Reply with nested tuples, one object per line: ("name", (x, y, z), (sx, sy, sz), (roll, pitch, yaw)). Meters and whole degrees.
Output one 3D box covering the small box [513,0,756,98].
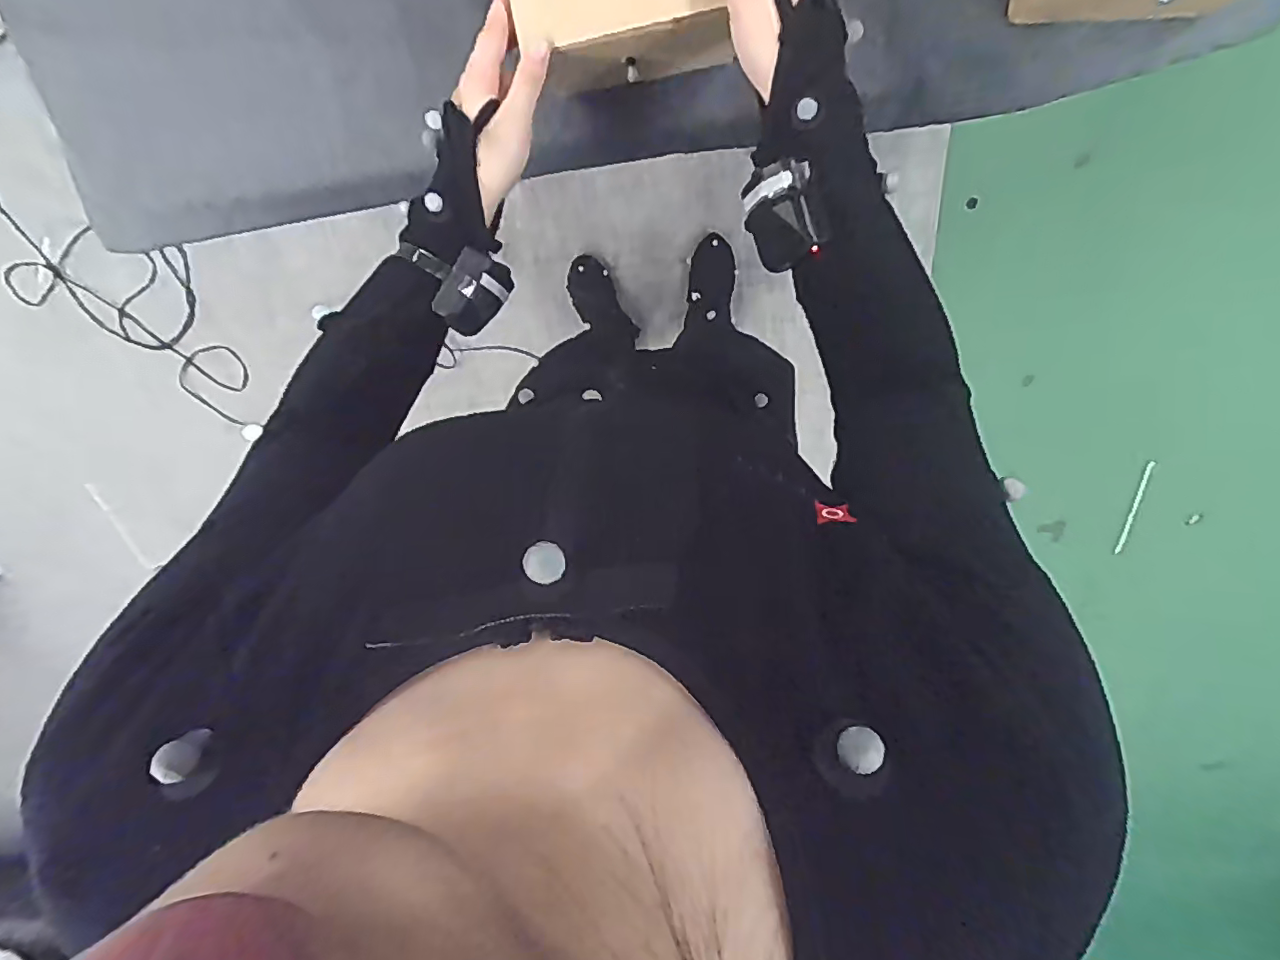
("small box", (-0.008, -0.429, 0.434), (0.179, 0.176, 0.168), (-5, 117, 8))
